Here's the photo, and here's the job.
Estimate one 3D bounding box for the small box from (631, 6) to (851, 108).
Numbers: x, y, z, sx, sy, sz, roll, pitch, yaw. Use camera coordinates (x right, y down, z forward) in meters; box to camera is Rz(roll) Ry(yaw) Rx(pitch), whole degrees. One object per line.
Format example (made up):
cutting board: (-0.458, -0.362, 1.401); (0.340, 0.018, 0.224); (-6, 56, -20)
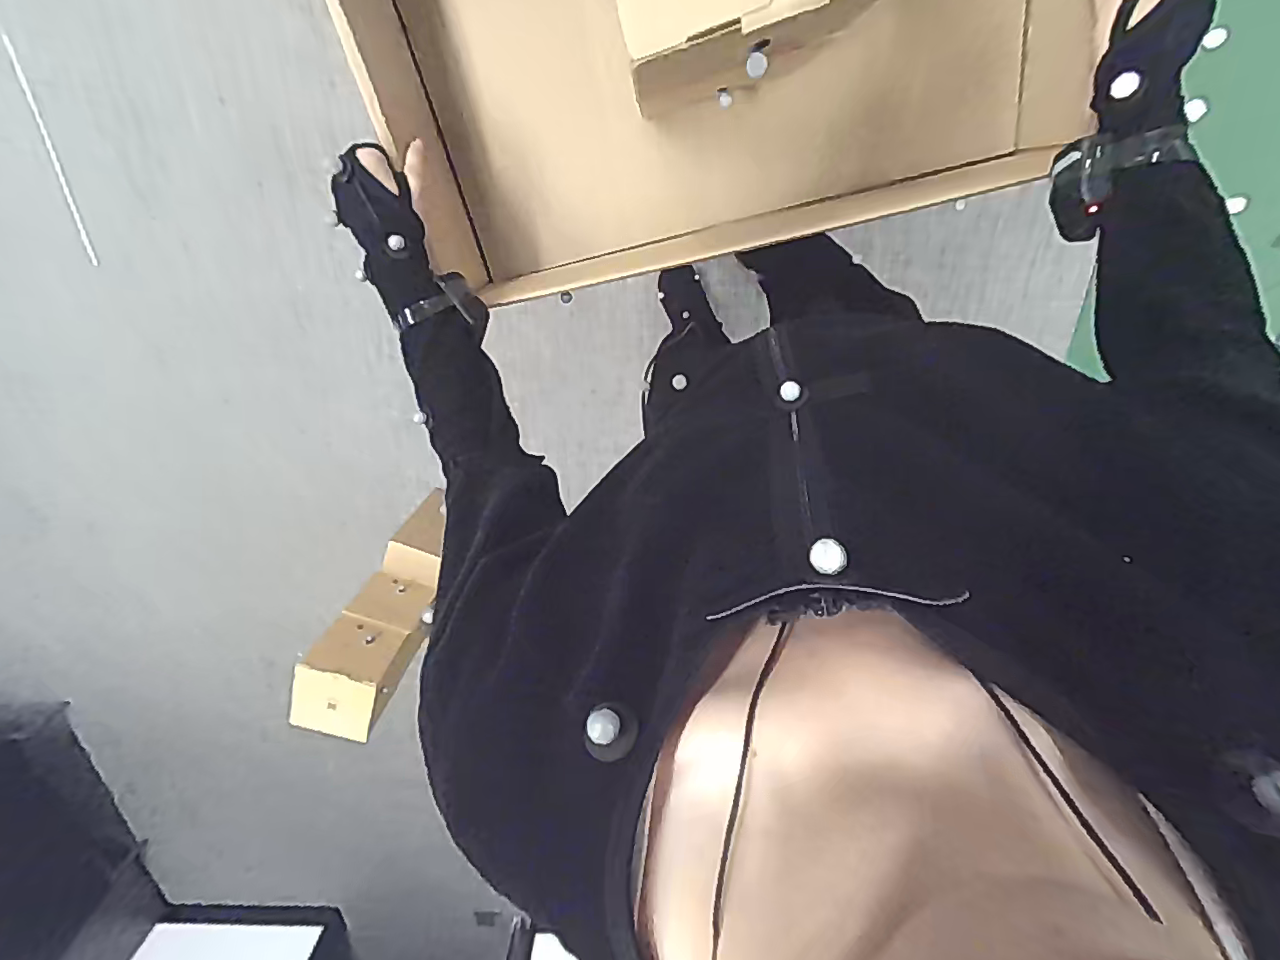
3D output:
small box: (0.061, -0.437, 0.443); (0.168, 0.176, 0.179); (-11, 118, 9)

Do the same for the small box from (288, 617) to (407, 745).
small box: (-0.634, 0.436, 1.185); (0.168, 0.176, 0.179); (18, 112, -6)

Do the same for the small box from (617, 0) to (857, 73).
small box: (0.053, -0.357, 0.301); (0.168, 0.176, 0.179); (-14, 118, 9)
